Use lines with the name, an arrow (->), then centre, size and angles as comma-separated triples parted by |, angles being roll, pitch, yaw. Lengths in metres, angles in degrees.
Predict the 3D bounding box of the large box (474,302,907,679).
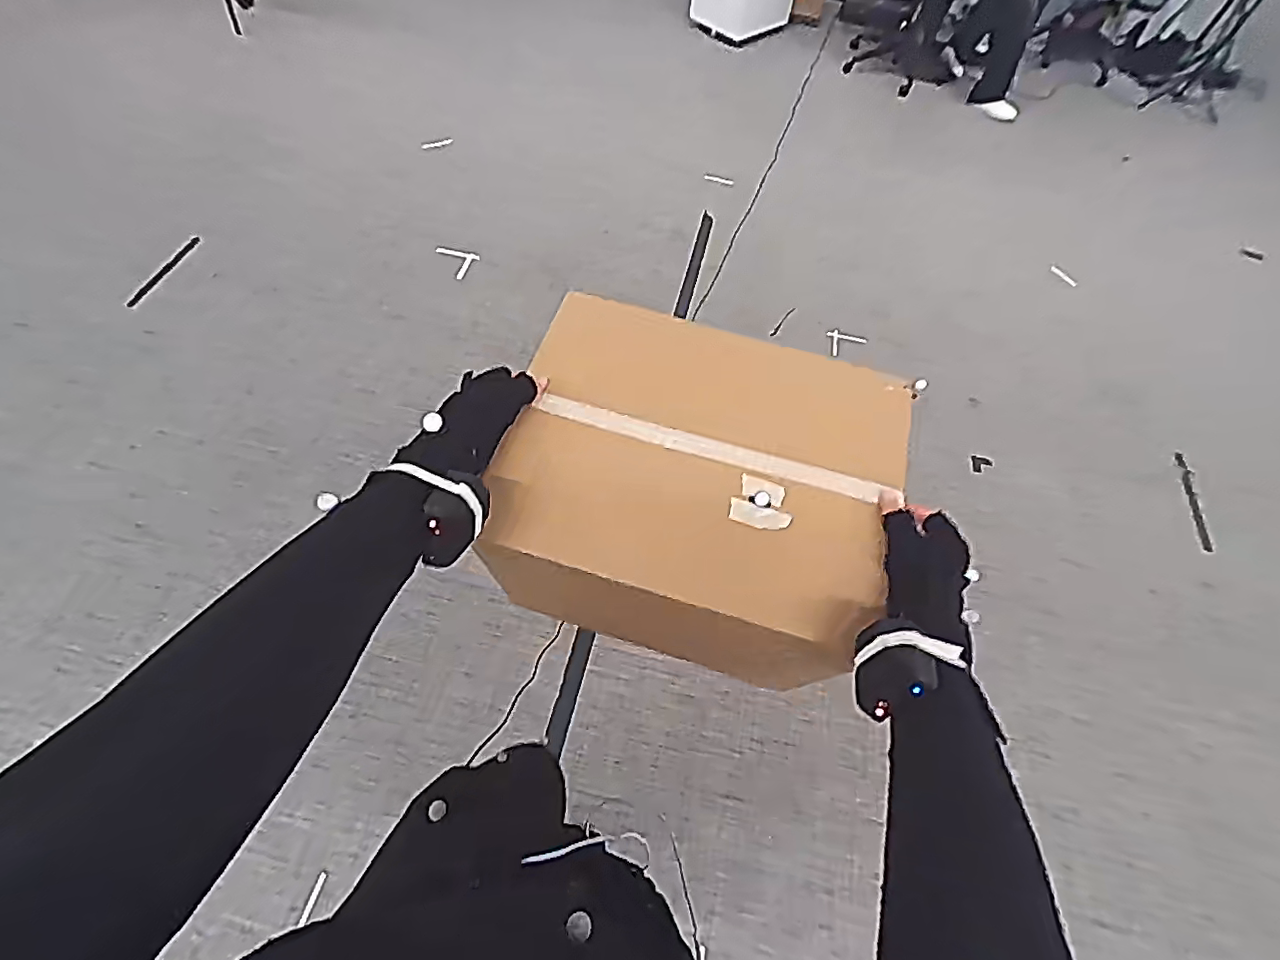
large box -> 0.061, 0.033, 0.697 | 0.408, 0.320, 0.320 | 17, 66, 5
